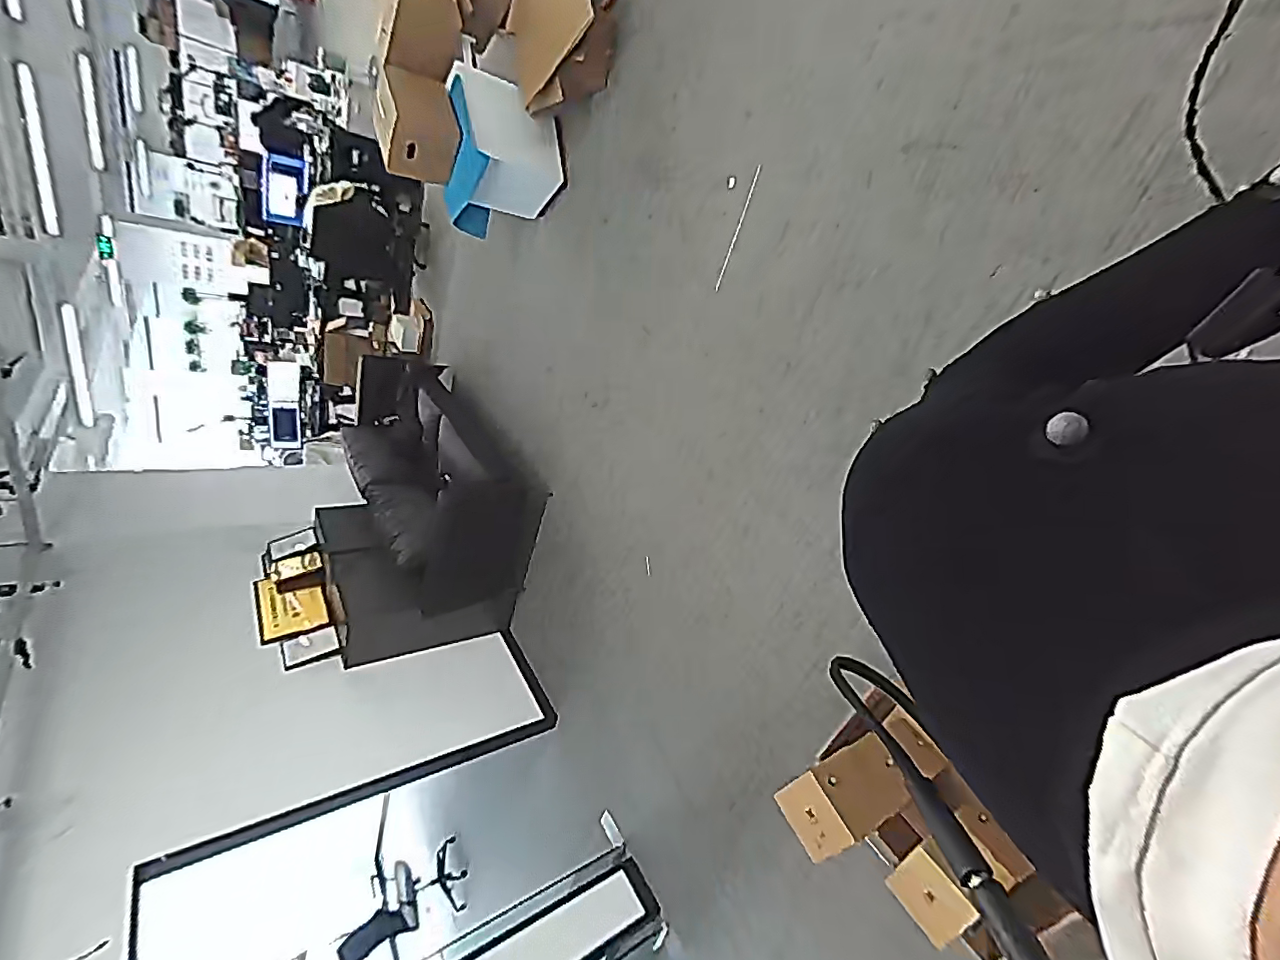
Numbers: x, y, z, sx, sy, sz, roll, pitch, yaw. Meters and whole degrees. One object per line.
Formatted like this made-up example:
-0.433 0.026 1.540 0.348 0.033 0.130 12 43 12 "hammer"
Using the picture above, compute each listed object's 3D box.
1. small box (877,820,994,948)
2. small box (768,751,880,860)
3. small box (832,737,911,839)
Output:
0.740 0.995 1.345 0.168 0.176 0.179 46 127 43 "small box"
0.476 0.830 1.399 0.179 0.176 0.168 57 132 32 "small box"
0.606 0.843 1.502 0.179 0.176 0.168 50 128 38 "small box"
